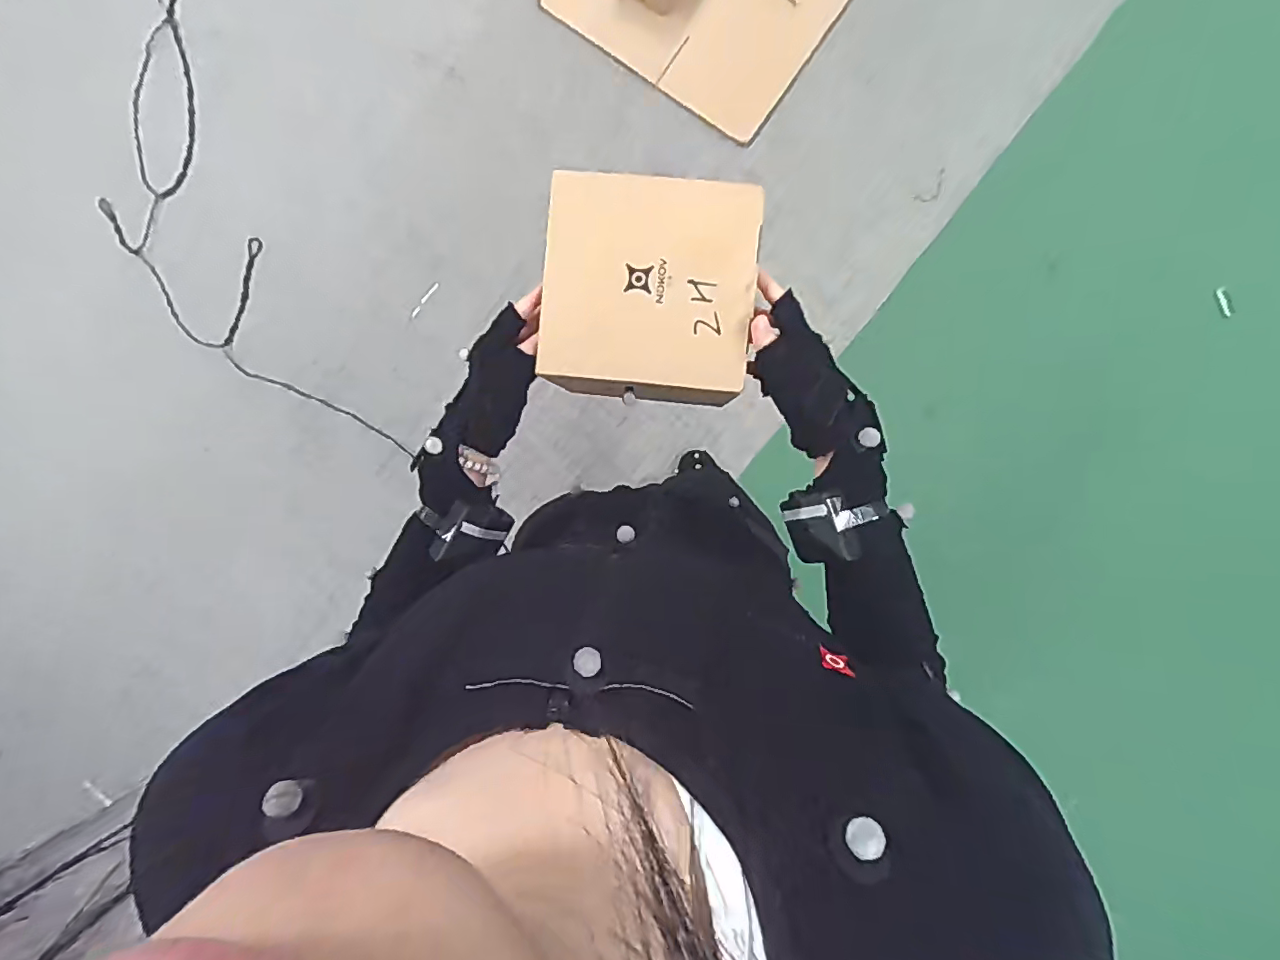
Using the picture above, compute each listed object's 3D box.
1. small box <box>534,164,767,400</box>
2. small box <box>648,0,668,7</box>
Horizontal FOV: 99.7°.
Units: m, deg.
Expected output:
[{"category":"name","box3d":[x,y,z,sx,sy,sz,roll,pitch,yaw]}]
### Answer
[{"category":"small box","box3d":[0.010,-0.170,0.515,0.179,0.176,0.168,6,94,2]},{"category":"small box","box3d":[0.030,-1.359,1.357,0.168,0.176,0.179,31,93,3]}]
